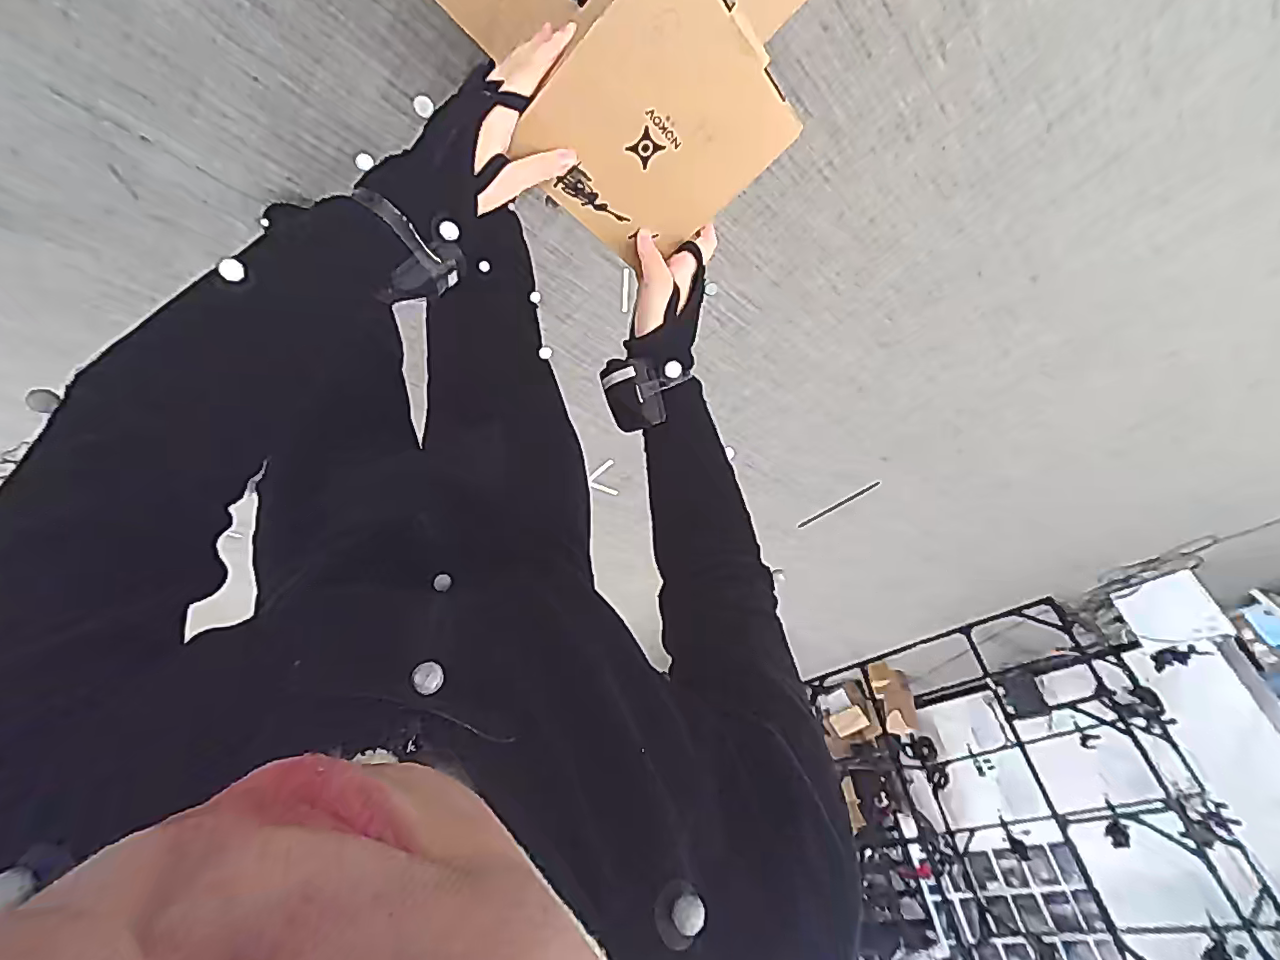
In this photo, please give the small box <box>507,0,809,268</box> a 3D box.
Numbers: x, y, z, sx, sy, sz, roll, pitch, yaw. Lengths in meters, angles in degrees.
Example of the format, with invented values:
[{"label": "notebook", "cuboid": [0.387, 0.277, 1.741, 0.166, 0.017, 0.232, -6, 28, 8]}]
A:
[{"label": "small box", "cuboid": [0.002, -0.326, 0.447, 0.179, 0.176, 0.168, -33, 139, 29]}]
